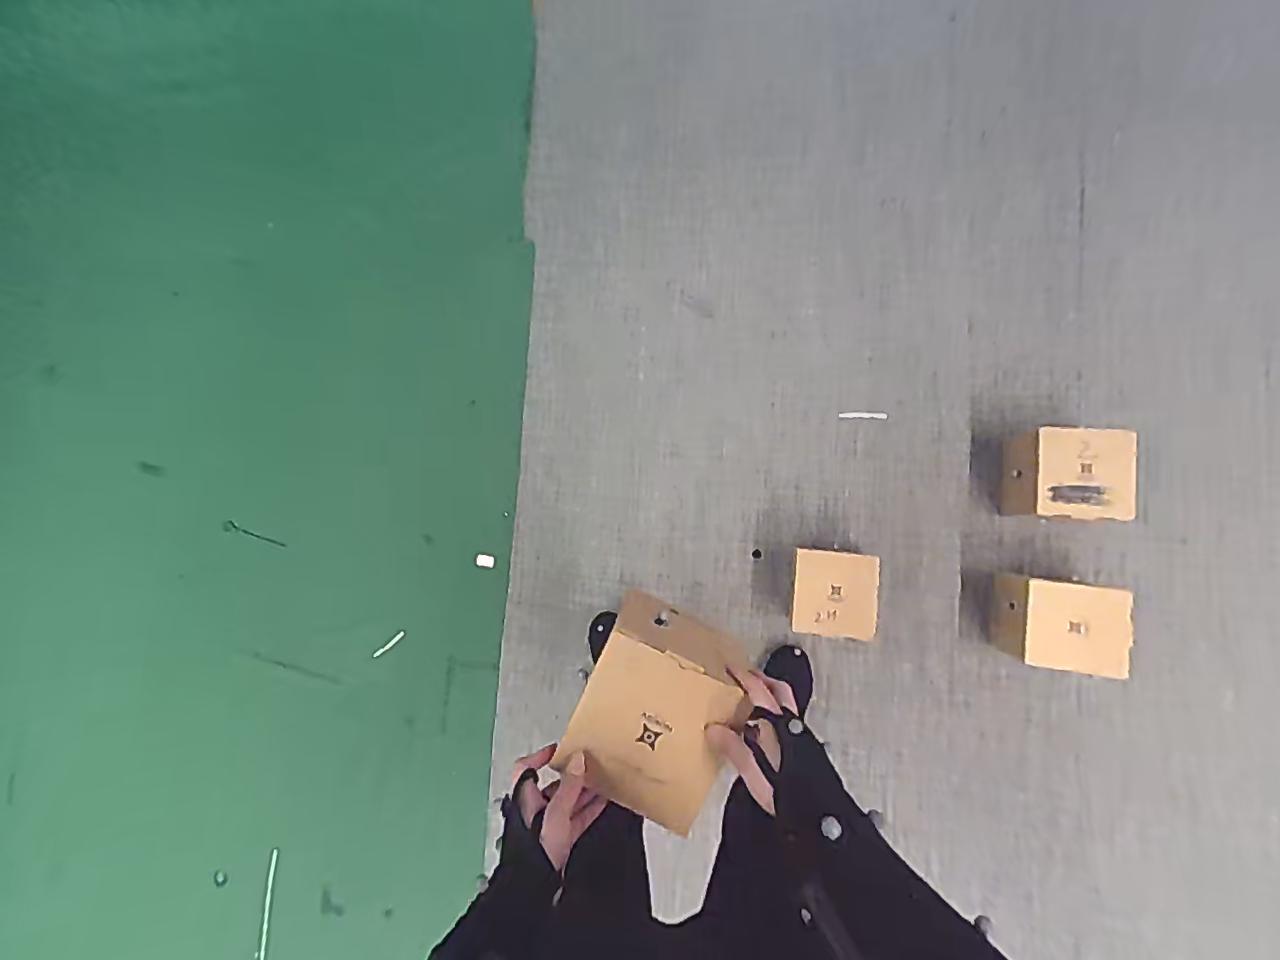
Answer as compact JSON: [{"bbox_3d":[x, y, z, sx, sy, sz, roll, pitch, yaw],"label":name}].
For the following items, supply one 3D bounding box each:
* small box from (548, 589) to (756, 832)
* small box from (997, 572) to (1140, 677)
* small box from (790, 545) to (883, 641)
[{"bbox_3d":[0.018,0.251,0.639,0.168,0.176,0.179,25,96,5],"label":"small box"},{"bbox_3d":[0.843,0.278,1.081,0.179,0.176,0.168,5,86,13],"label":"small box"},{"bbox_3d":[0.421,0.237,1.180,0.168,0.176,0.179,4,86,13],"label":"small box"}]
